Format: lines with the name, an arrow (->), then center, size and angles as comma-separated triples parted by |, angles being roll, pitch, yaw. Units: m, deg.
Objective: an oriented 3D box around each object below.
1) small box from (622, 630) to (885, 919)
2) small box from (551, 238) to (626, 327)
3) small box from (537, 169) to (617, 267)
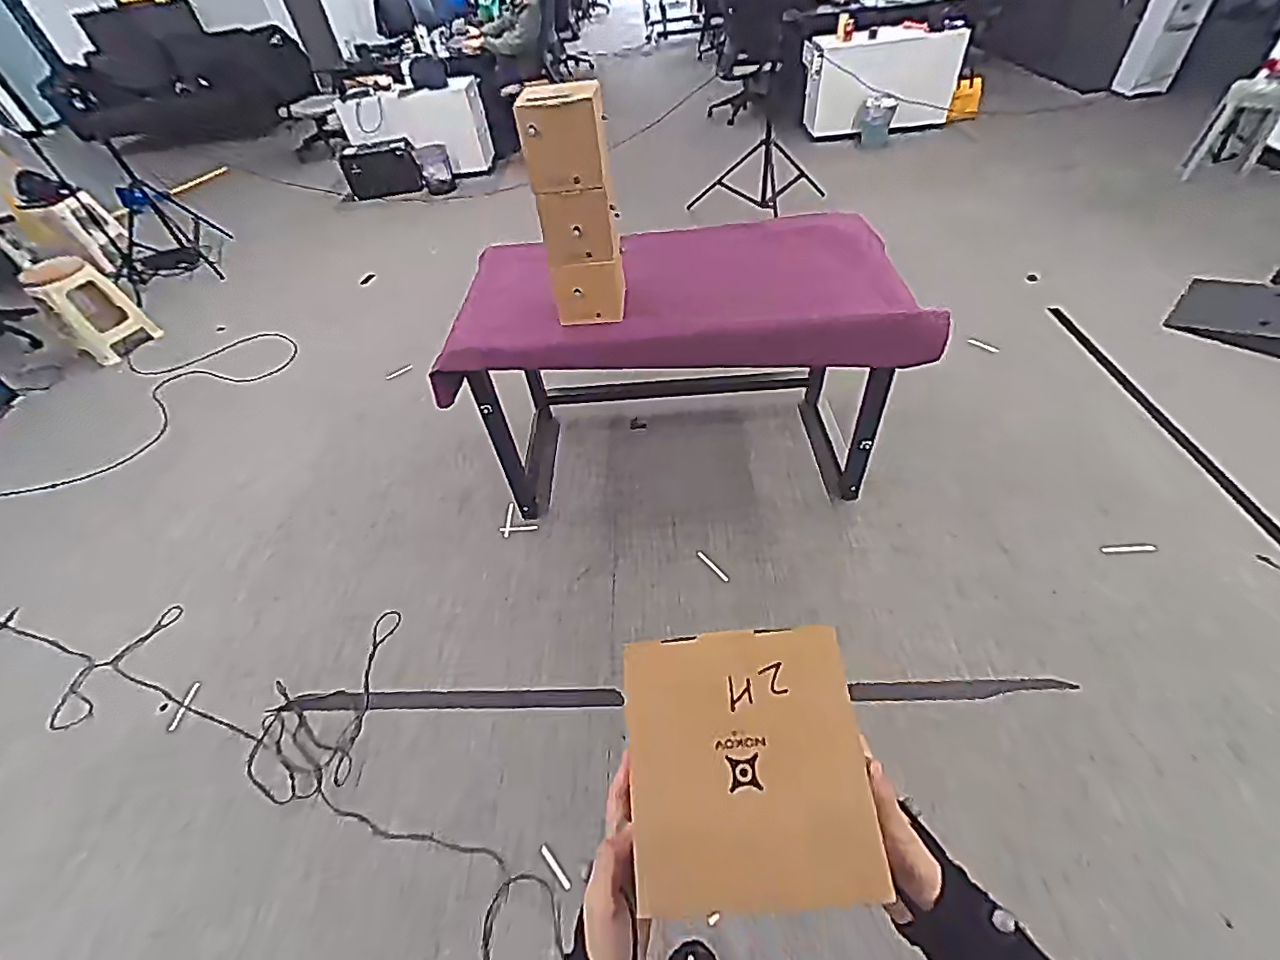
small box -> 0.081, 0.238, 0.458 | 0.168, 0.176, 0.179 | -7, 62, 4
small box -> -0.130, -0.520, 1.441 | 0.168, 0.176, 0.179 | -2, 46, 5
small box -> -0.146, -0.635, 1.326 | 0.168, 0.176, 0.179 | -4, 47, 3
